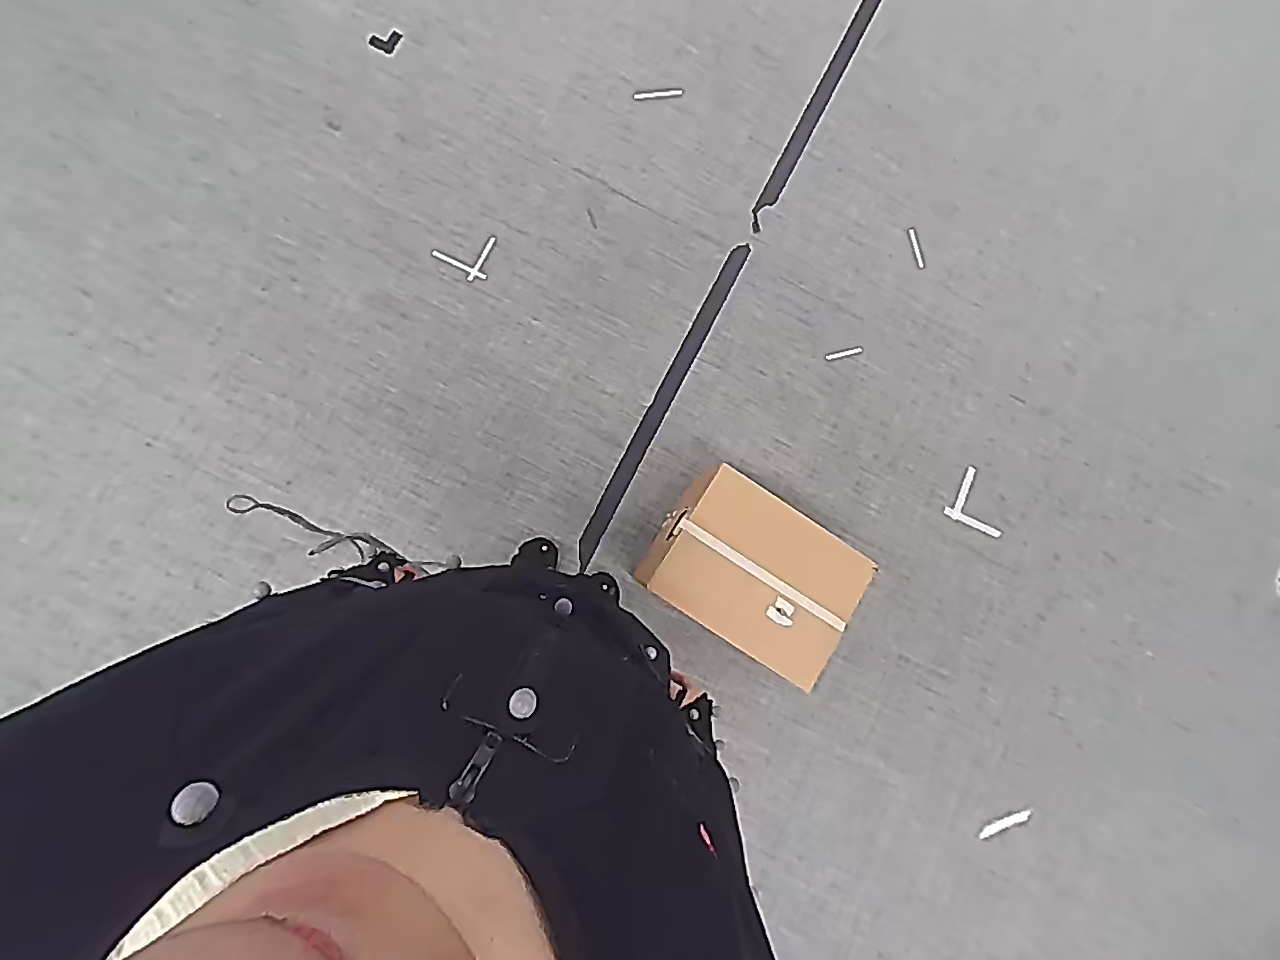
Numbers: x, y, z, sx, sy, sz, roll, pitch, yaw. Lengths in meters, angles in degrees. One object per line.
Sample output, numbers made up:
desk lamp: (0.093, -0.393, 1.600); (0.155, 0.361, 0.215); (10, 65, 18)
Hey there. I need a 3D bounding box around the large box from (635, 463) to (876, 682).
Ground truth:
large box: (0.247, 0.205, 1.278); (0.408, 0.320, 0.320); (33, 82, -3)
